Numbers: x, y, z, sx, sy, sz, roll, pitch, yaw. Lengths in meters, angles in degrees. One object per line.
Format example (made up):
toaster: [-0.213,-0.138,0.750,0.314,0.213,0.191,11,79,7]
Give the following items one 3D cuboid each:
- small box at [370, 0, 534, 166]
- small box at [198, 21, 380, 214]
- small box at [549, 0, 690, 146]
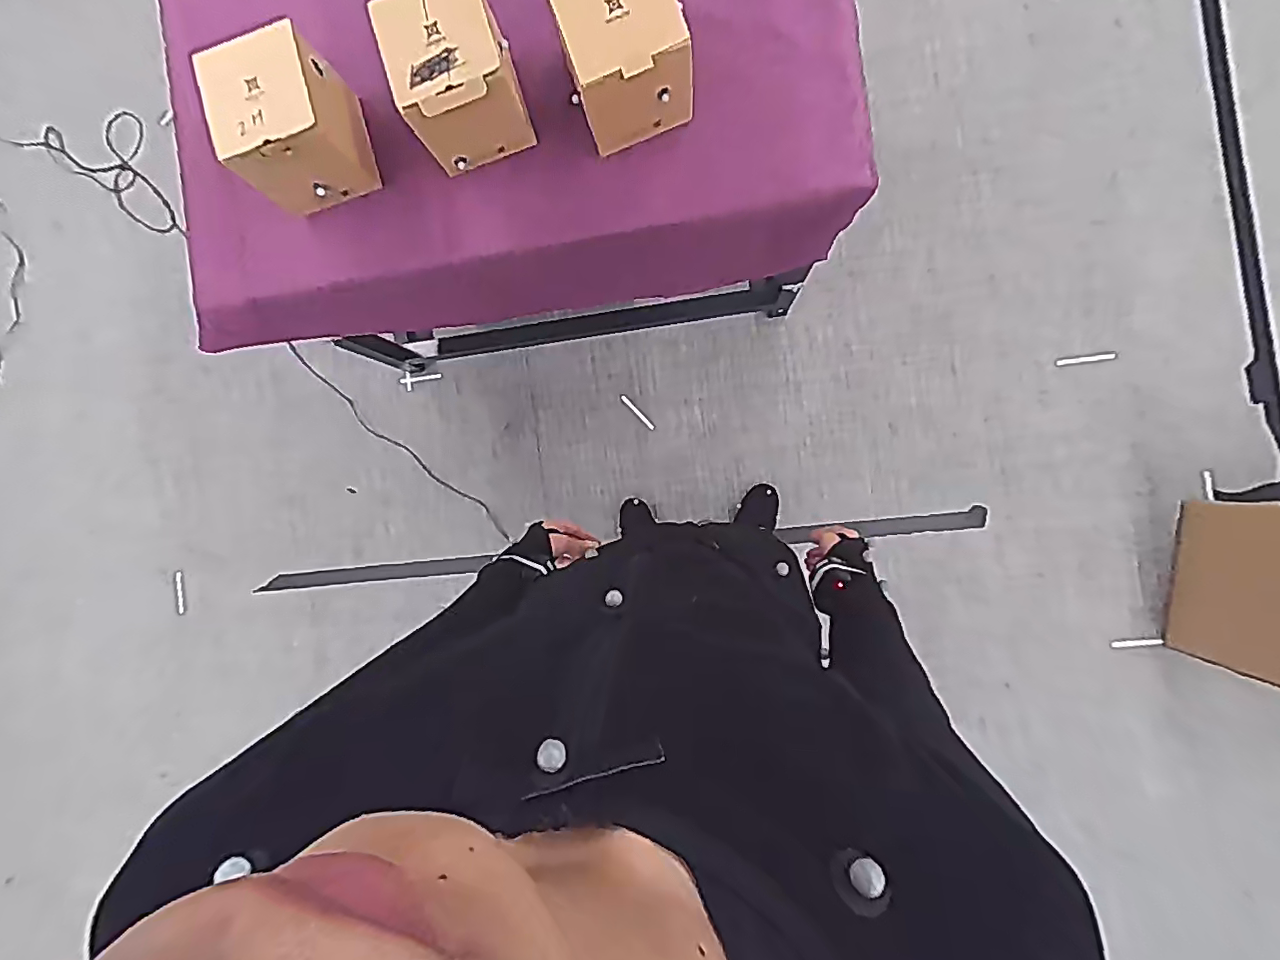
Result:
small box: [-0.285,-0.636,0.858,0.168,0.176,0.179,-17,87,5]
small box: [-0.561,-0.578,0.885,0.168,0.176,0.179,-16,88,6]
small box: [-0.025,-0.656,0.833,0.168,0.176,0.179,-19,87,5]
